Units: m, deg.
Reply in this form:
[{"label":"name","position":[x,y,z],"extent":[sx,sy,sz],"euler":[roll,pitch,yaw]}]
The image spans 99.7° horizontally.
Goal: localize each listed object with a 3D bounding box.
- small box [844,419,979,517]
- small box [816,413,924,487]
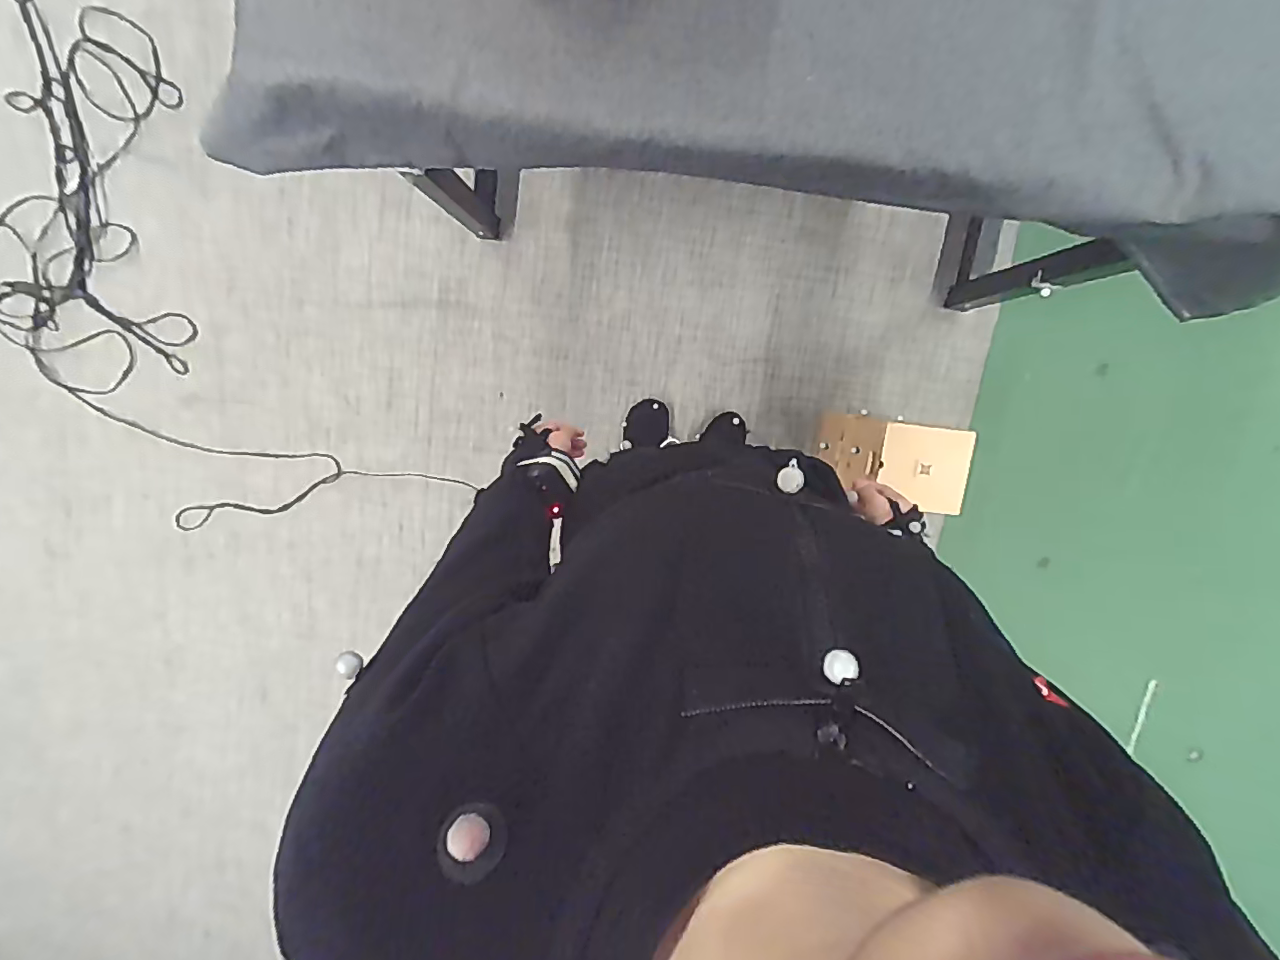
[{"label":"small box","position":[0.543,-0.032,1.106],"extent":[0.179,0.176,0.168],"euler":[6,100,0]},{"label":"small box","position":[0.529,-0.064,1.268],"extent":[0.179,0.176,0.168],"euler":[8,98,0]}]
